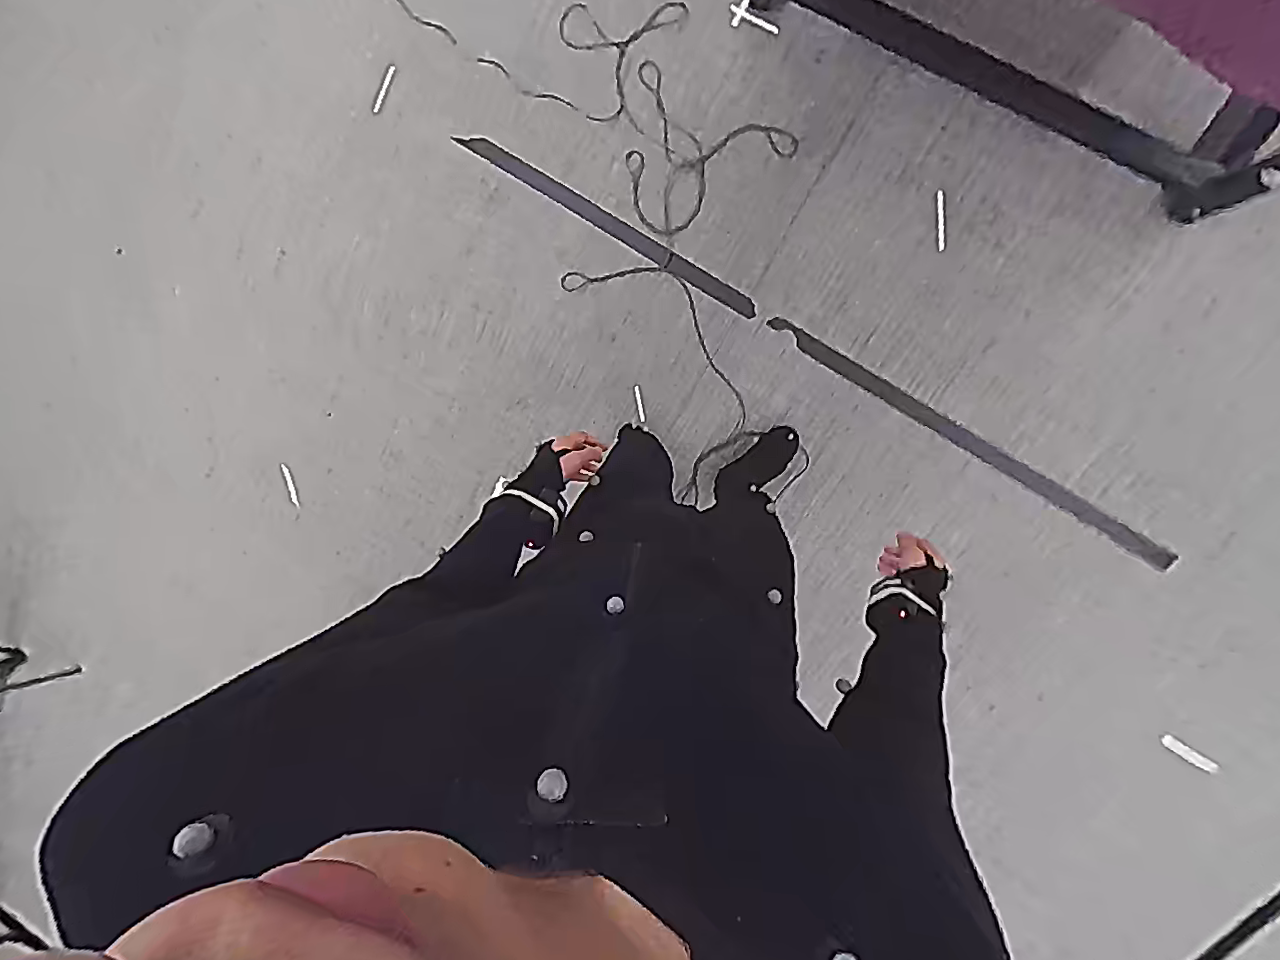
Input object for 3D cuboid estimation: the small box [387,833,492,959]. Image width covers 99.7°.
[{"bbox_3d":[-0.461,0.941,1.204,0.179,0.176,0.168,29,104,8],"label":"small box"}]
